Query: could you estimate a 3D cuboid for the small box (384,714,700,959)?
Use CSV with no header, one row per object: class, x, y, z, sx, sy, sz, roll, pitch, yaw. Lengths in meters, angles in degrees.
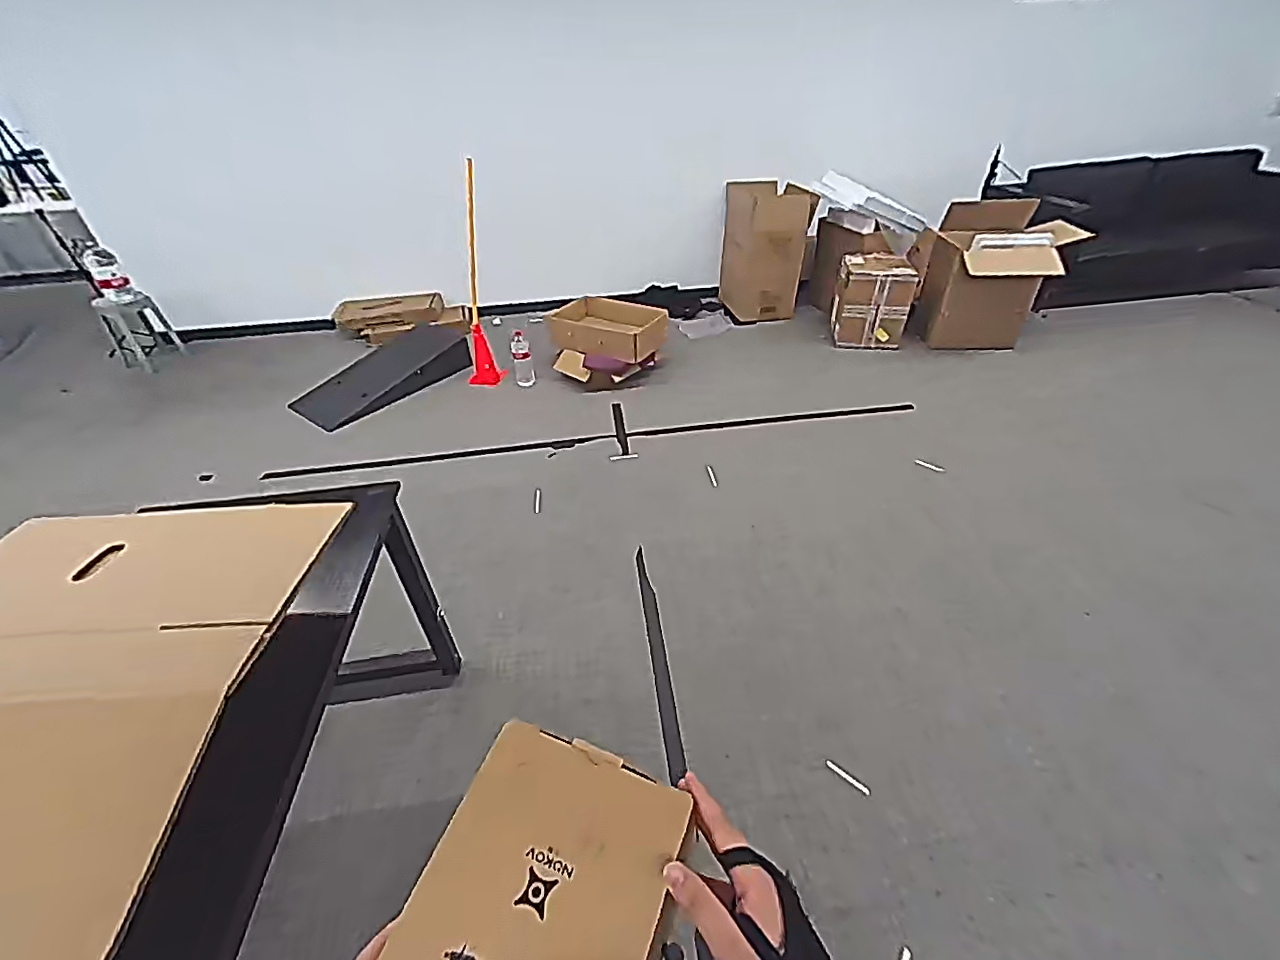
small box,-0.058,0.331,0.436,0.168,0.176,0.179,14,48,19
